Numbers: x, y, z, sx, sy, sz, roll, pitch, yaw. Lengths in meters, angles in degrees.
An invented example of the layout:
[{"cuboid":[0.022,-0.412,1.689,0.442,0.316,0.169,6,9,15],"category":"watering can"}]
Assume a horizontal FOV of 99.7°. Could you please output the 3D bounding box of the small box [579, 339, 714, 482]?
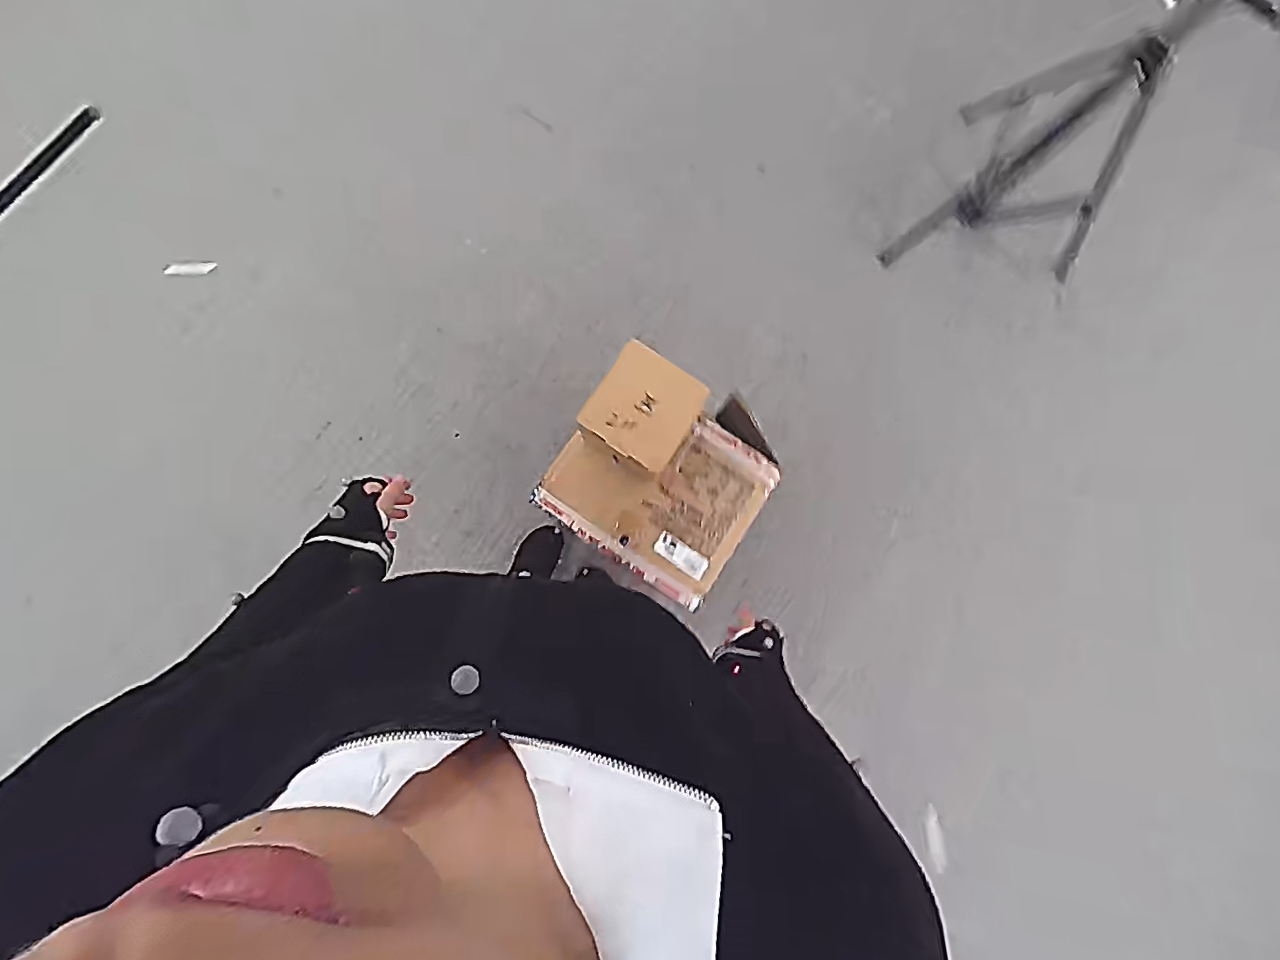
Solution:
[{"cuboid":[0.007,-0.115,0.977,0.168,0.176,0.179,34,84,2],"category":"small box"}]
